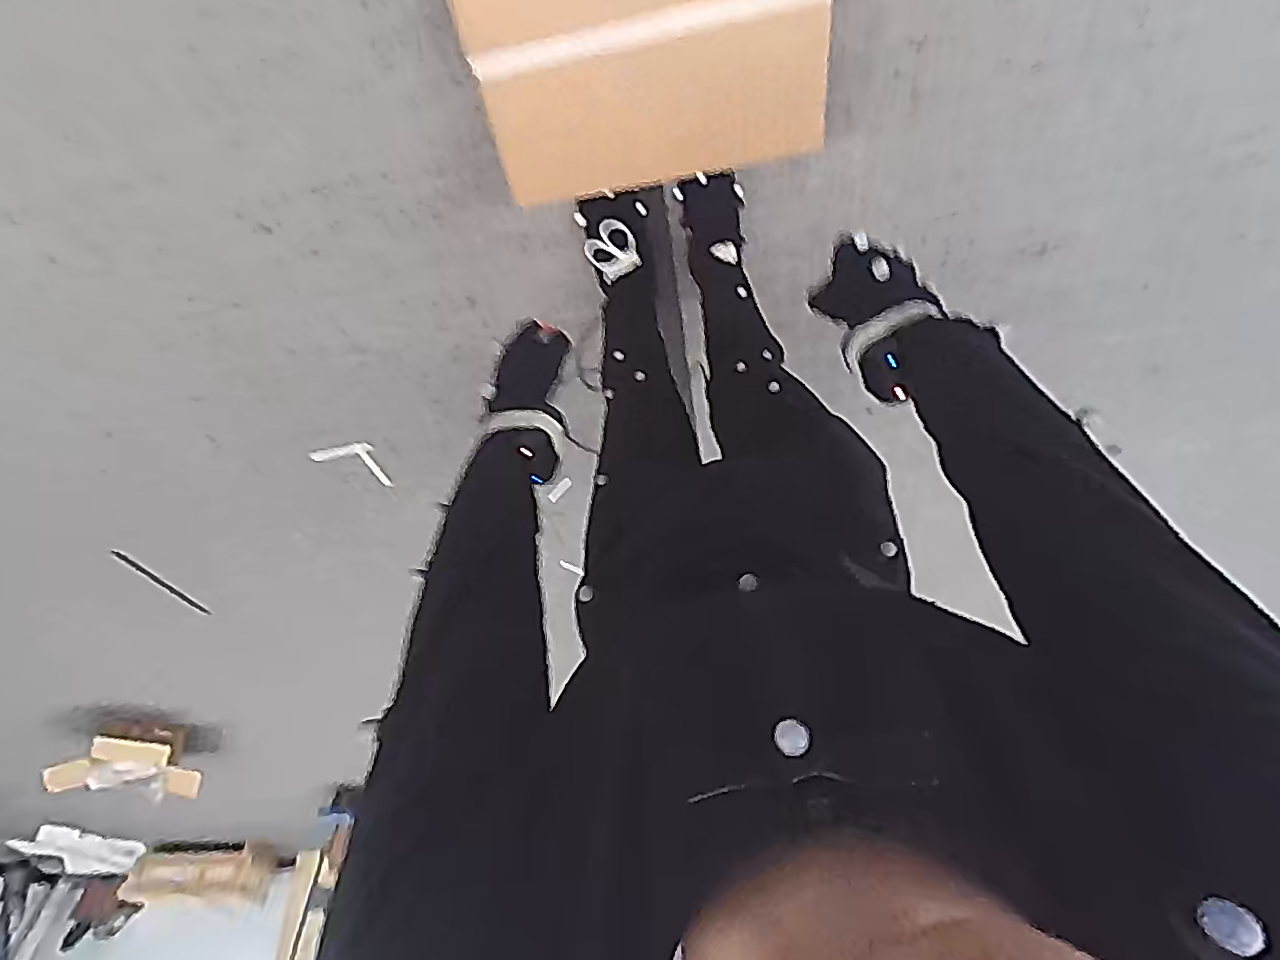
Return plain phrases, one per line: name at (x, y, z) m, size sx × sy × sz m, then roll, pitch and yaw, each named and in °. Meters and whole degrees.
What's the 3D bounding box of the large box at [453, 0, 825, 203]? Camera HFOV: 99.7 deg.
large box at (0.000, -0.610, 0.702) m, size 0.408 × 0.320 × 0.320 m, roll -7°, pitch 137°, yaw 6°
